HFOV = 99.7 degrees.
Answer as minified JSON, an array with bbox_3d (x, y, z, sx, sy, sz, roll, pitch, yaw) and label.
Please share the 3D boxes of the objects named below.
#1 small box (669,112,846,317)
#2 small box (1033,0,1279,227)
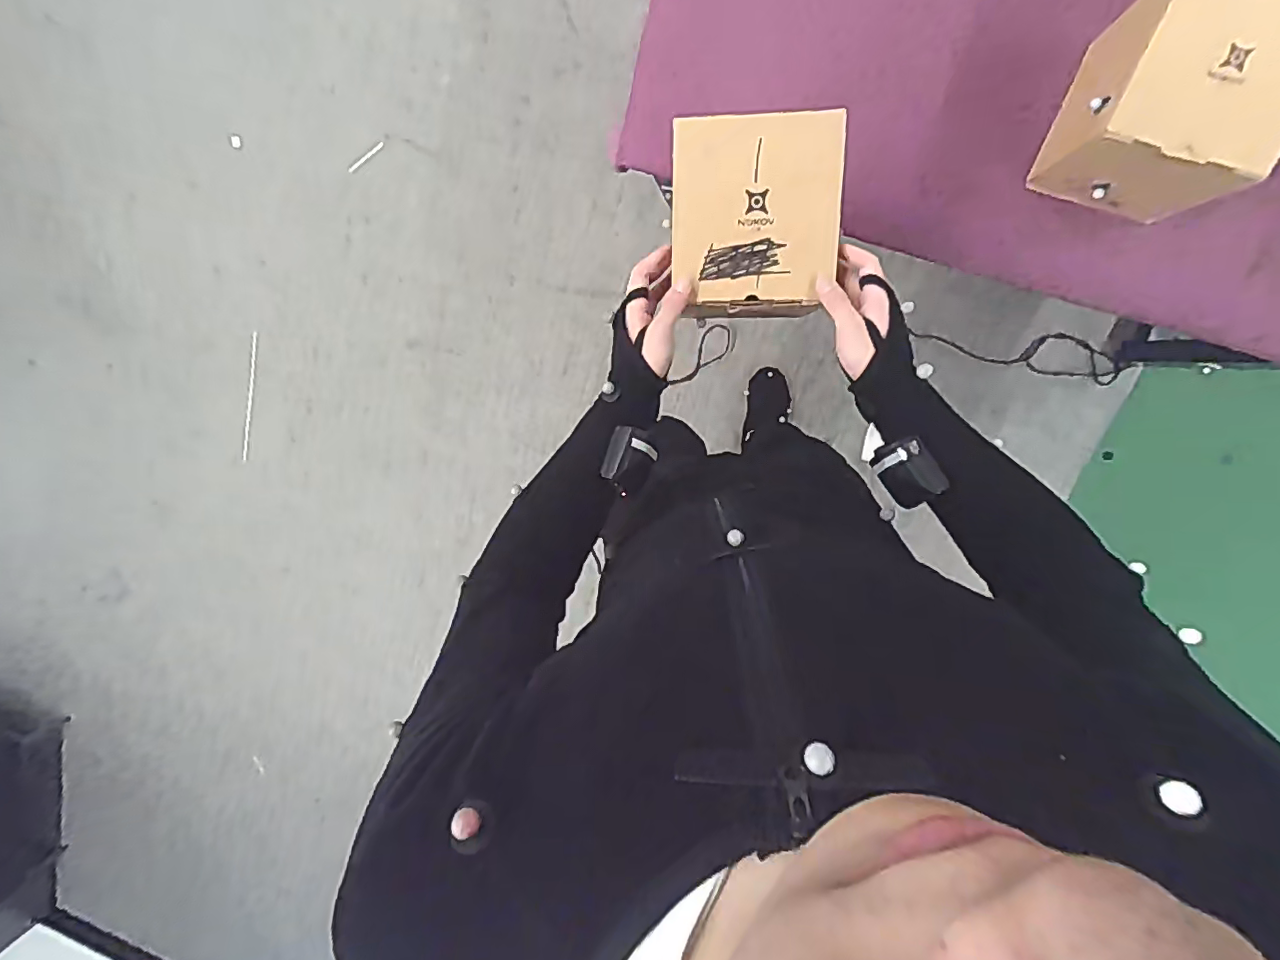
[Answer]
[{"bbox_3d":[0.122,-0.281,0.613,0.168,0.176,0.179,2,101,6],"label":"small box"},{"bbox_3d":[0.600,-0.418,0.615,0.168,0.176,0.179,21,105,6],"label":"small box"}]
